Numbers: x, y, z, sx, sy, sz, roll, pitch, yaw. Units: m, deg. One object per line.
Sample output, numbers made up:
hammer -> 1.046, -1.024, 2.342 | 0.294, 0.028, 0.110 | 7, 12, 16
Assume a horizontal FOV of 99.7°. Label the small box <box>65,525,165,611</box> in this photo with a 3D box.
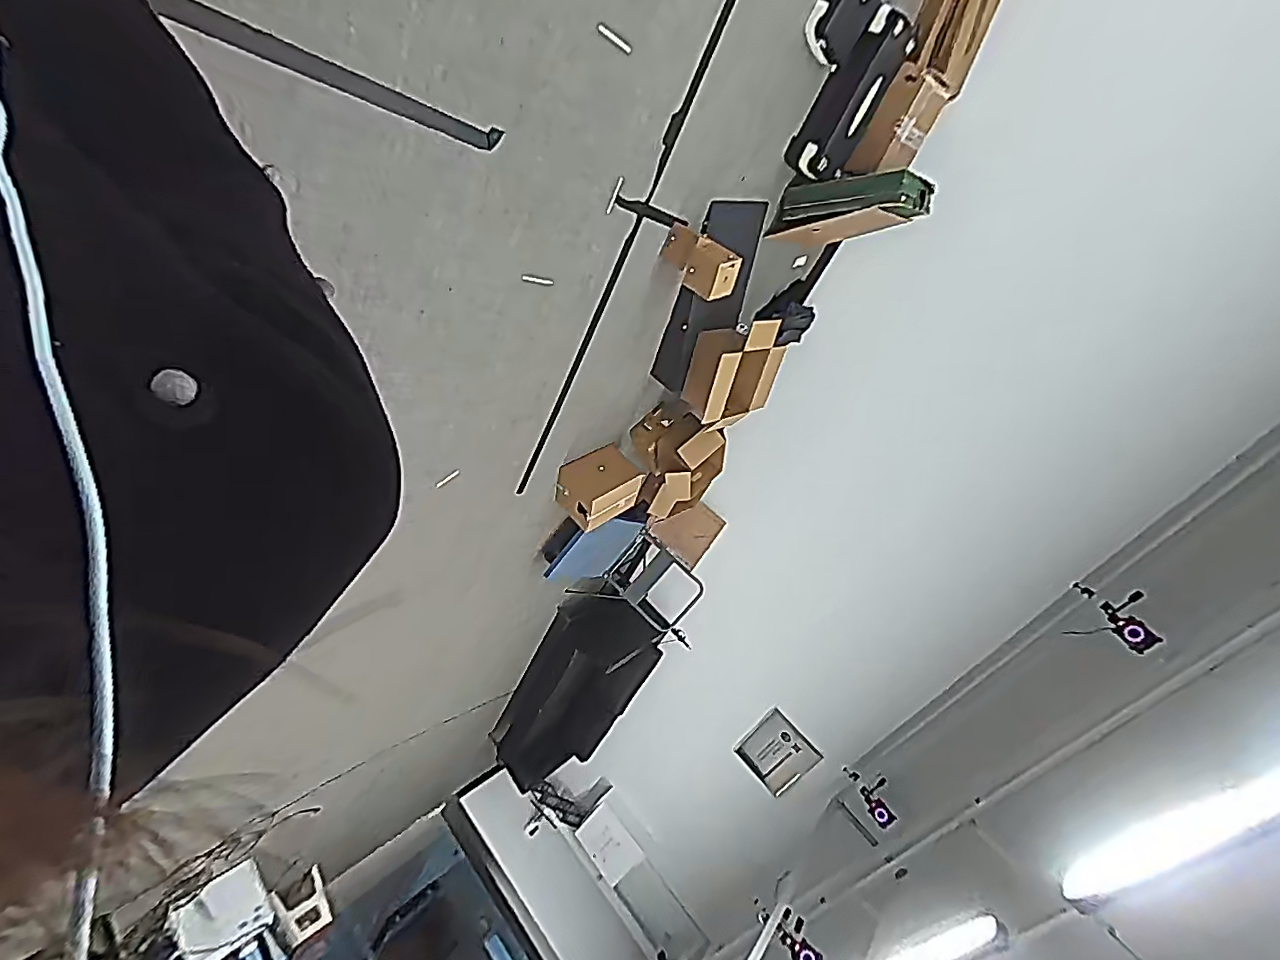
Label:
small box -> -1.576, 0.256, 1.619 | 0.179, 0.176, 0.168 | -8, 136, -58
